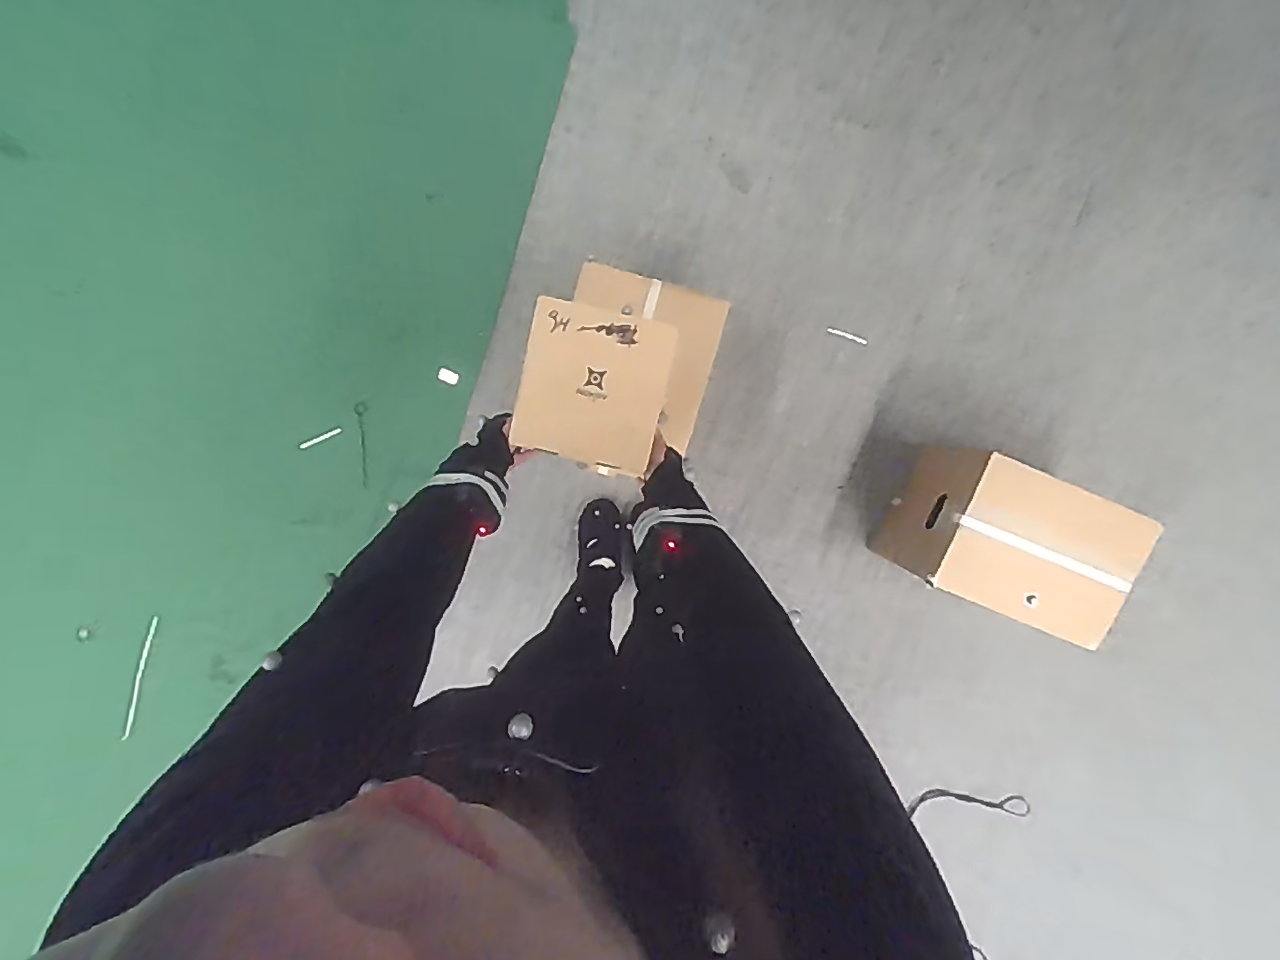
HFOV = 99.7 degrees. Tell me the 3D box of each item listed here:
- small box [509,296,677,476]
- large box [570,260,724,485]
[{"bbox_3d":[-0.055,-0.114,0.700,0.168,0.176,0.179,13,96,-2],"label":"small box"},{"bbox_3d":[-0.026,-0.228,1.263,0.320,0.320,0.408,17,95,-2],"label":"large box"}]
